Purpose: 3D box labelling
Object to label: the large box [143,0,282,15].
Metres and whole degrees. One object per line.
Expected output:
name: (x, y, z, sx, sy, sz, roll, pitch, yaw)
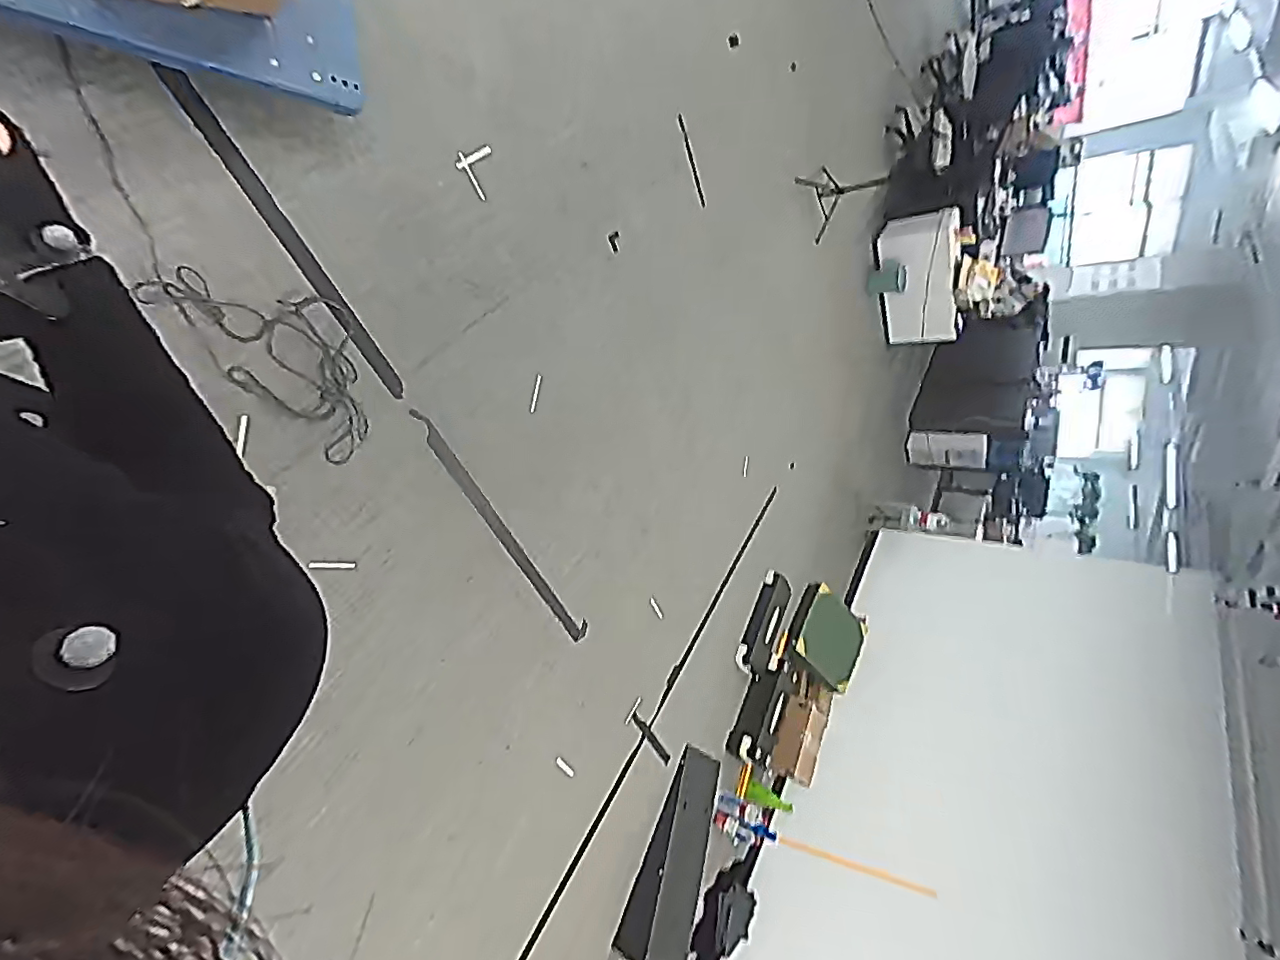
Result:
large box: (-0.759, -1.032, 0.821, 0.320, 0.320, 0.408, -37, 124, -41)
